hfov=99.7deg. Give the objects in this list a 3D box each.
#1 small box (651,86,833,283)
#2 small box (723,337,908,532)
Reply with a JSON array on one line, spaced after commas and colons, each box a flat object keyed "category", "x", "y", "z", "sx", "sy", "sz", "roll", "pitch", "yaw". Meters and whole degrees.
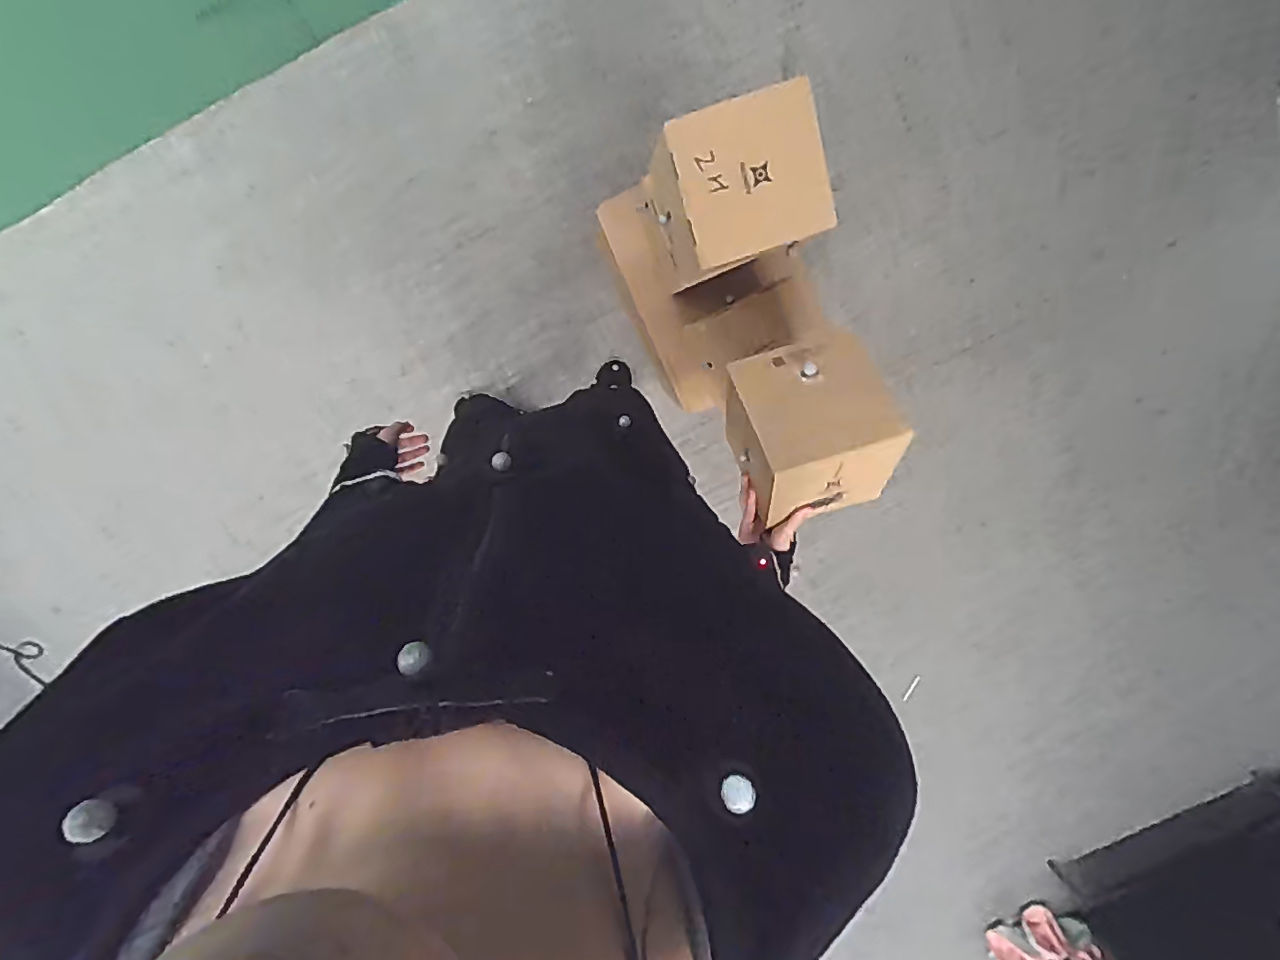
[{"category": "small box", "x": 0.124, "y": -0.371, "z": 0.711, "sx": 0.179, "sy": 0.176, "sz": 0.168, "roll": -18, "pitch": 106, "yaw": 1}, {"category": "small box", "x": 0.212, "y": -0.055, "z": 0.709, "sx": 0.168, "sy": 0.179, "sz": 0.176, "roll": -16, "pitch": 63, "yaw": 1}]
